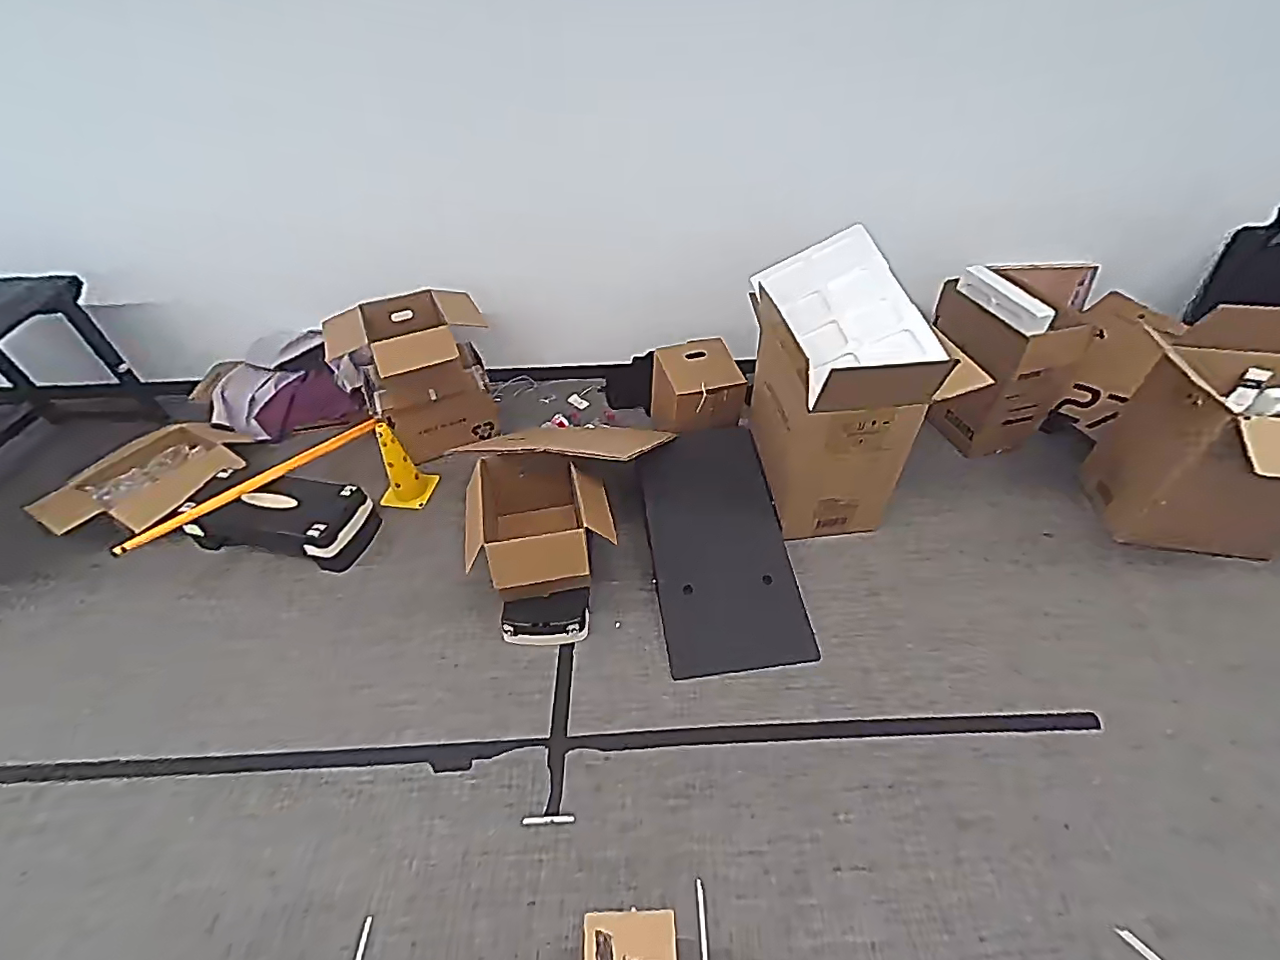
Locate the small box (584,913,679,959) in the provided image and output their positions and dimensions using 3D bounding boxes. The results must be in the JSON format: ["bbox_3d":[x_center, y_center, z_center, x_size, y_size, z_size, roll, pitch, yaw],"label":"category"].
[{"bbox_3d":[-0.015,0.943,1.027,0.179,0.176,0.168,-1,43,-1],"label":"small box"}]
